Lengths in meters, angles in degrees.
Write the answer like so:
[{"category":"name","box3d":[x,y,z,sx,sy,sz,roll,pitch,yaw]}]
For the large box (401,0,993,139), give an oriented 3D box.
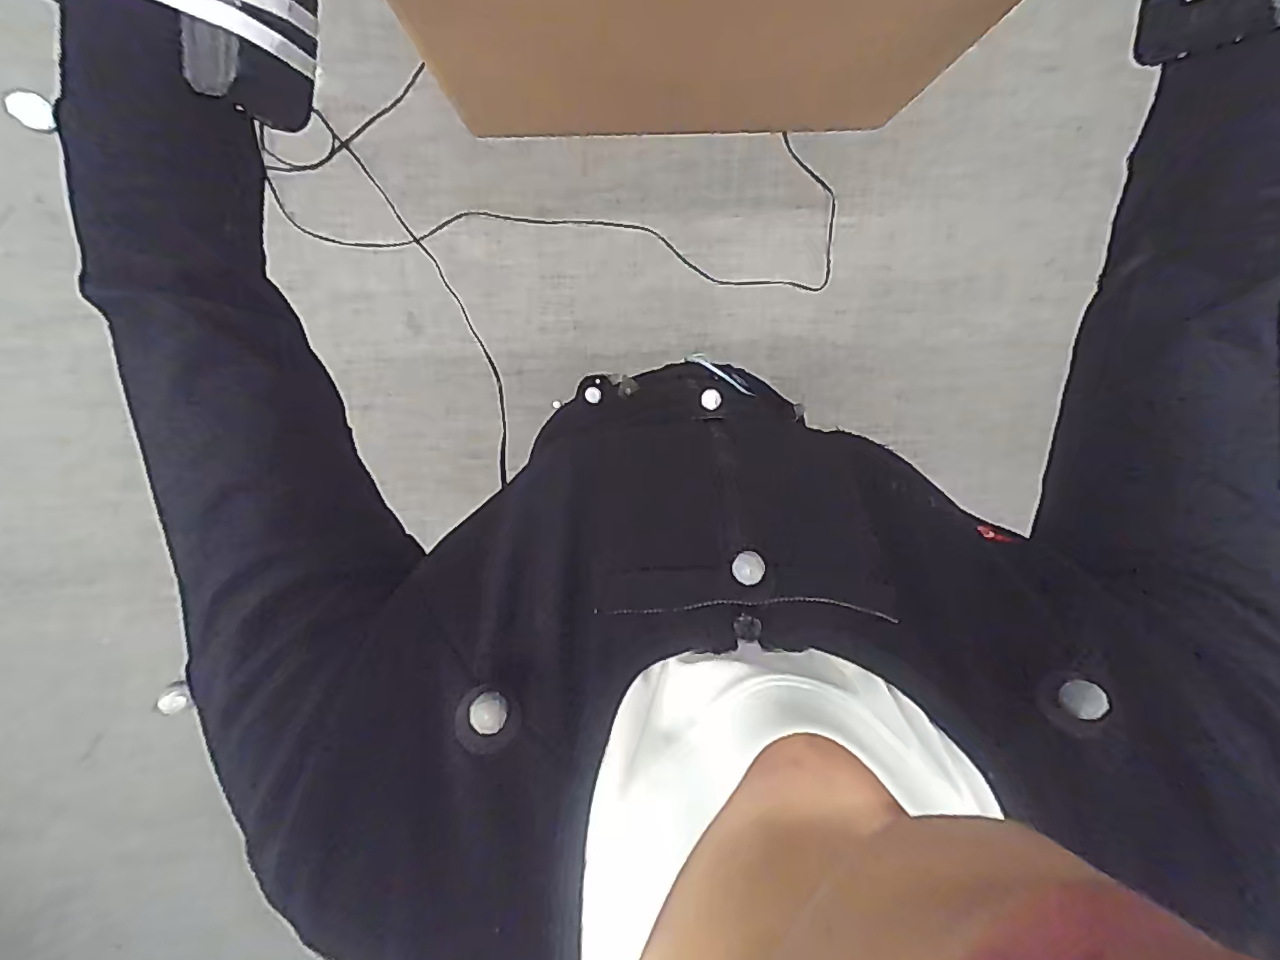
[{"category":"large box","box3d":[0.035,-0.462,0.356,0.408,0.320,0.320,-3,101,-3]}]
